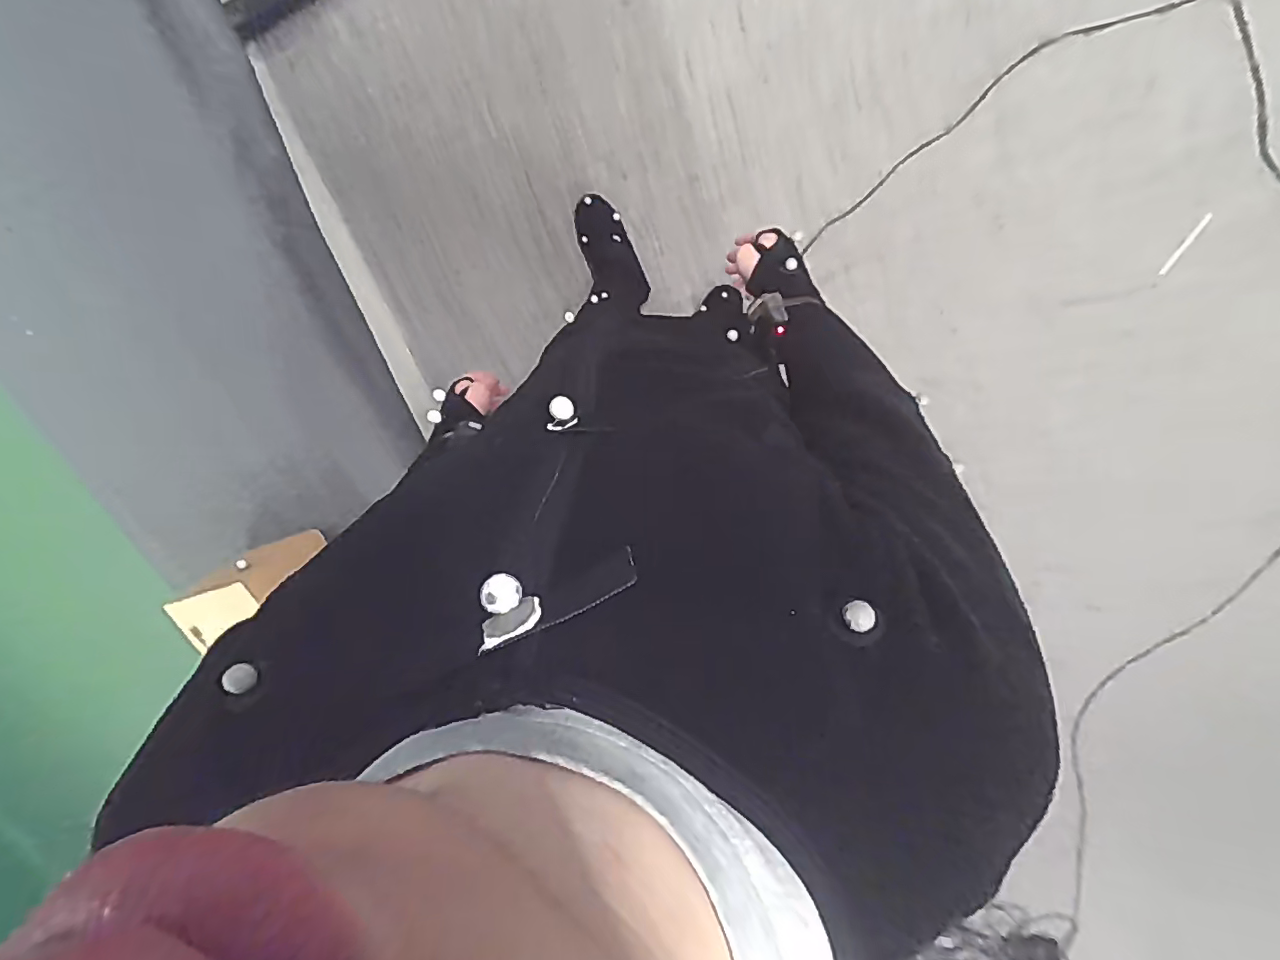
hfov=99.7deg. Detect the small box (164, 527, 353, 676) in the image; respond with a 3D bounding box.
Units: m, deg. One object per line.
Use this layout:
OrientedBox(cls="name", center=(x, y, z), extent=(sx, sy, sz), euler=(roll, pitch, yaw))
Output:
OrientedBox(cls="small box", center=(-0.632, 0.200, 0.927), extent=(0.179, 0.176, 0.168), euler=(-17, 110, 14))
